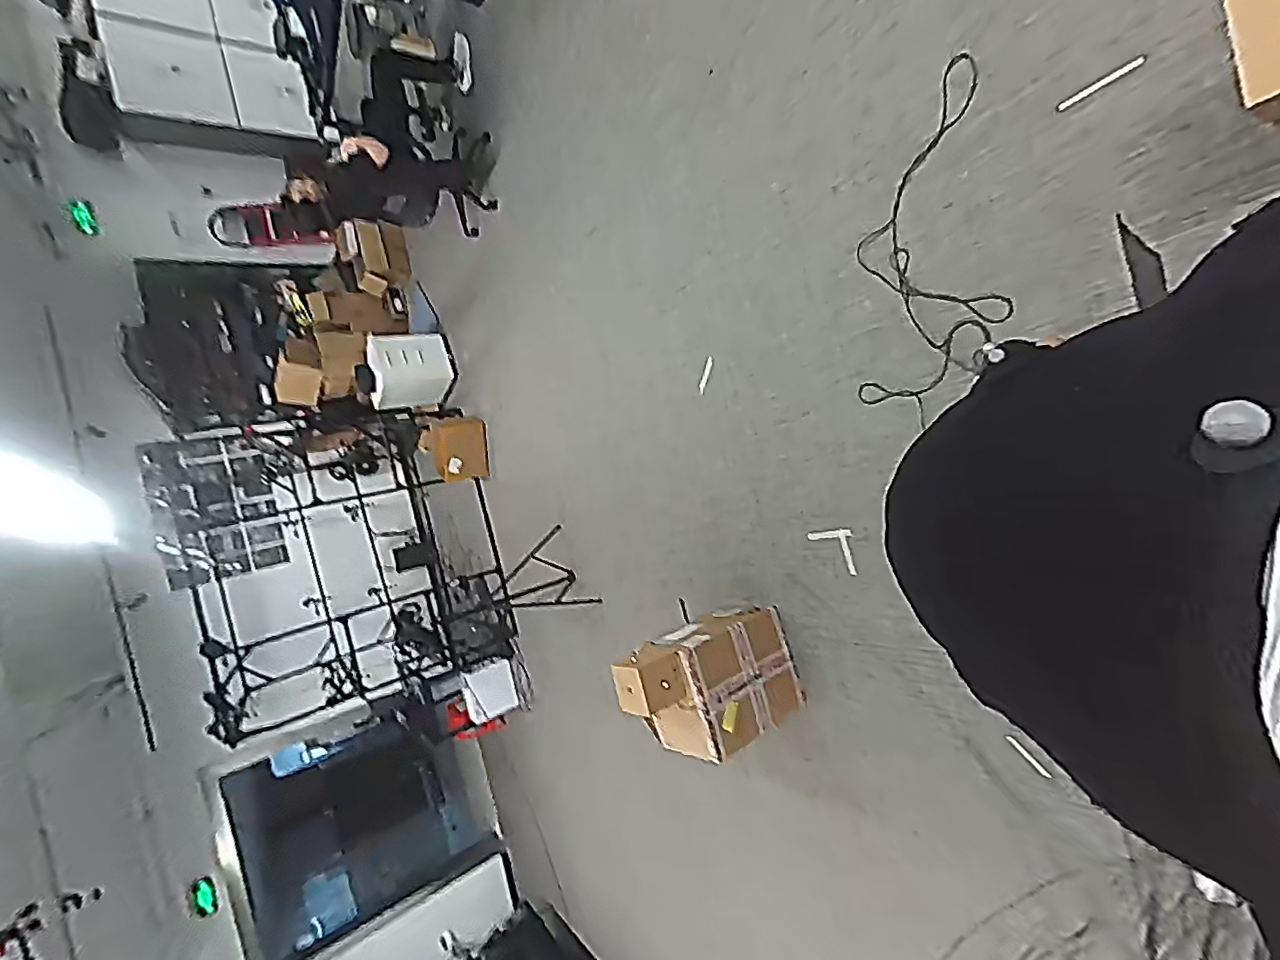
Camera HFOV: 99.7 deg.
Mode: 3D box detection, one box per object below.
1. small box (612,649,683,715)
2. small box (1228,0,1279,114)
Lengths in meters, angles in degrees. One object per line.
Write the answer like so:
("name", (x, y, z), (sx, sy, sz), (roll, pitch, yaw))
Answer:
("small box", (0.034, 0.700, 1.892), (0.179, 0.176, 0.168), (-21, 82, 53))
("small box", (0.933, -0.632, 0.724), (0.168, 0.176, 0.179), (-12, 92, 58))
